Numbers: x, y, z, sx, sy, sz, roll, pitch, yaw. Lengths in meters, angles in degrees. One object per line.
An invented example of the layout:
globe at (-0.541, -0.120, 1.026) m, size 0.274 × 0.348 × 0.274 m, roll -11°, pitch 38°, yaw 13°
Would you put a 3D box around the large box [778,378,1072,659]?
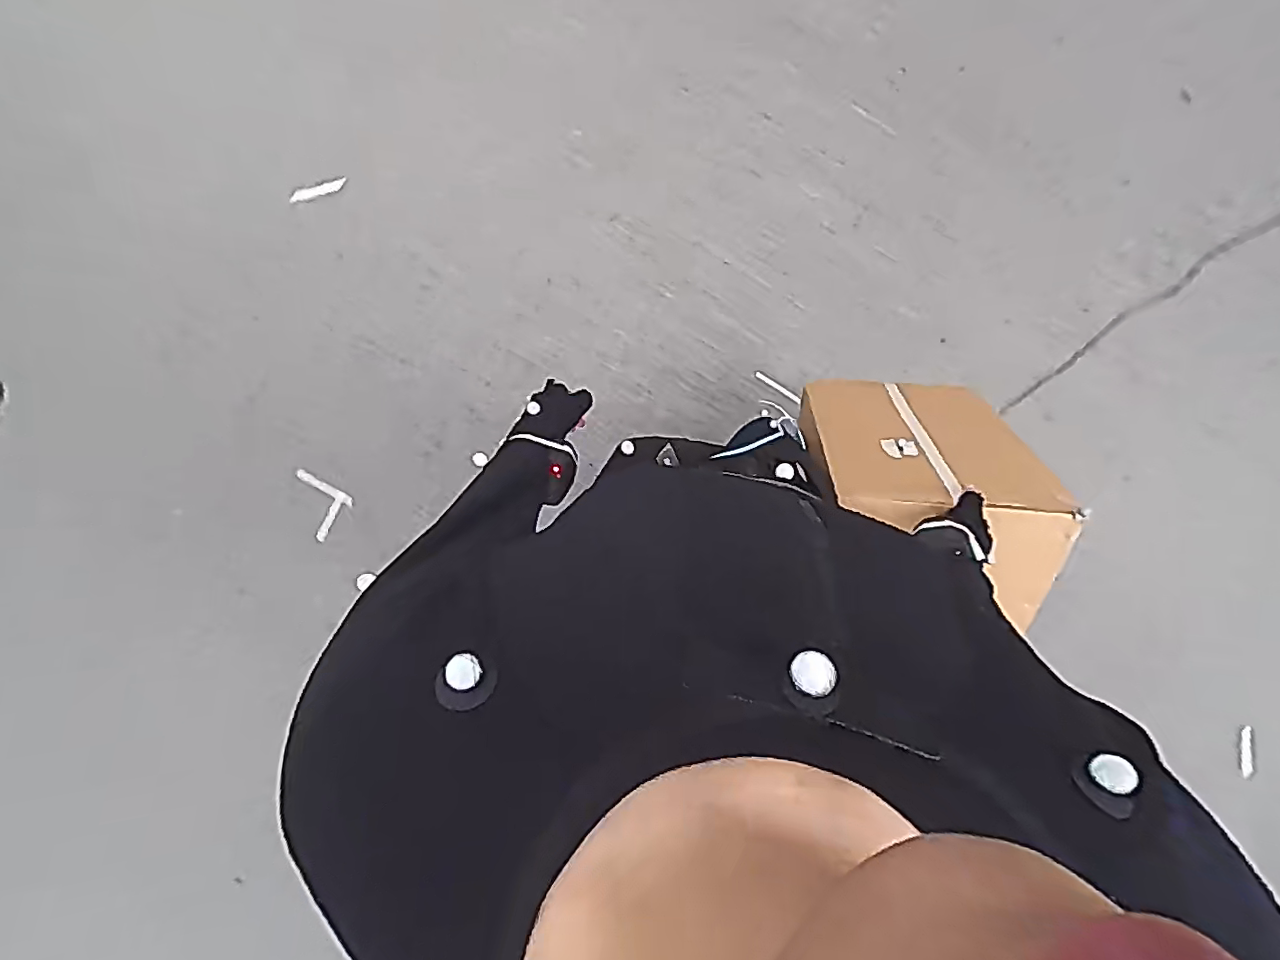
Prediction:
large box at (0.439, 0.047, 0.966) m, size 0.320 × 0.408 × 0.320 m, roll 3°, pitch 125°, yaw 7°
